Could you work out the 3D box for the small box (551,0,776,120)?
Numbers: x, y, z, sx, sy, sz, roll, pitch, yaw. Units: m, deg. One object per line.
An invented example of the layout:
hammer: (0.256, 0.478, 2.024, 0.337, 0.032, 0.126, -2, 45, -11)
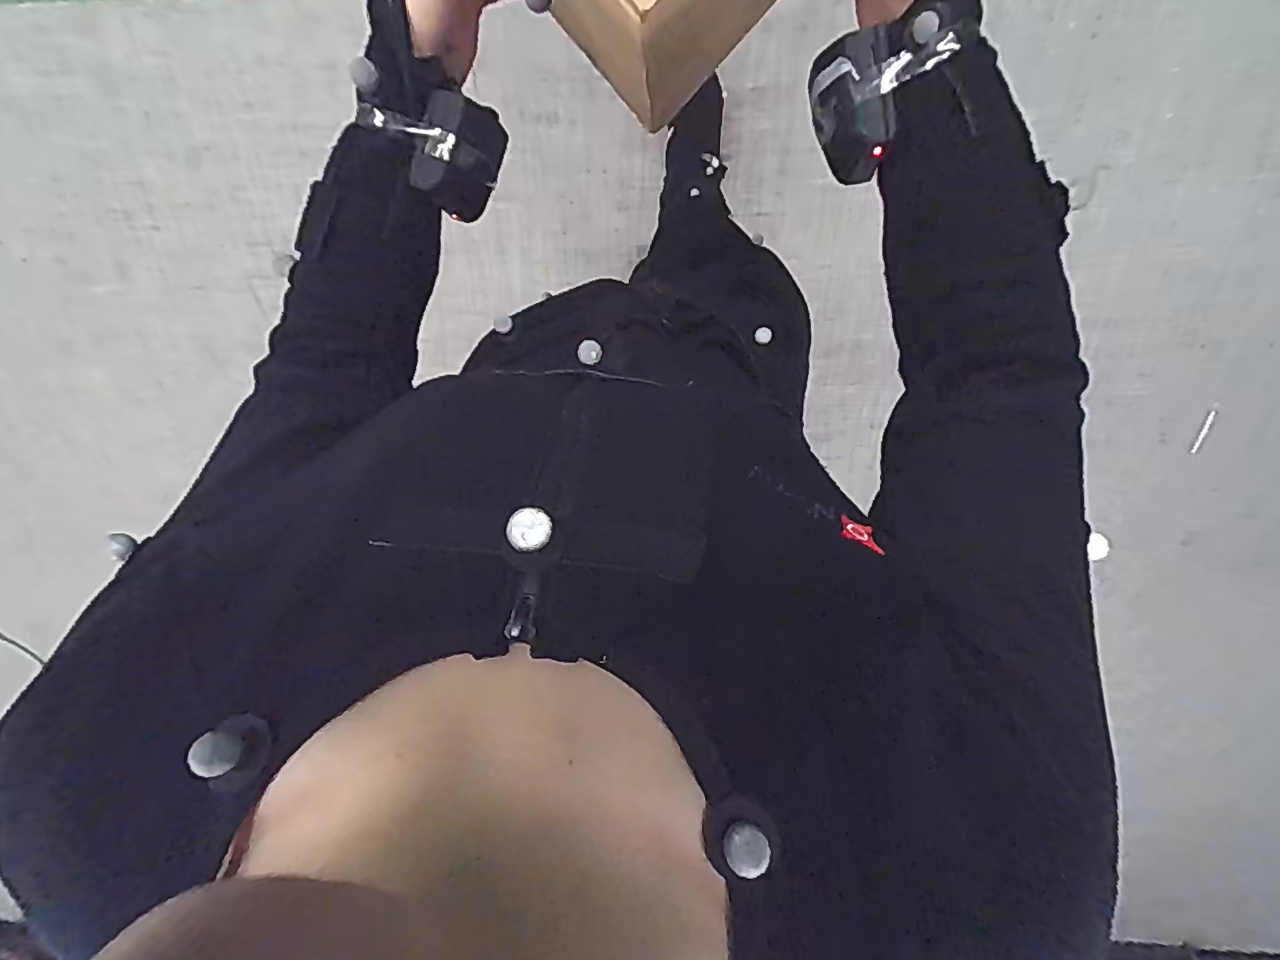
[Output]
small box: (0.013, -0.341, 0.286, 0.179, 0.176, 0.168, -42, 101, 16)
